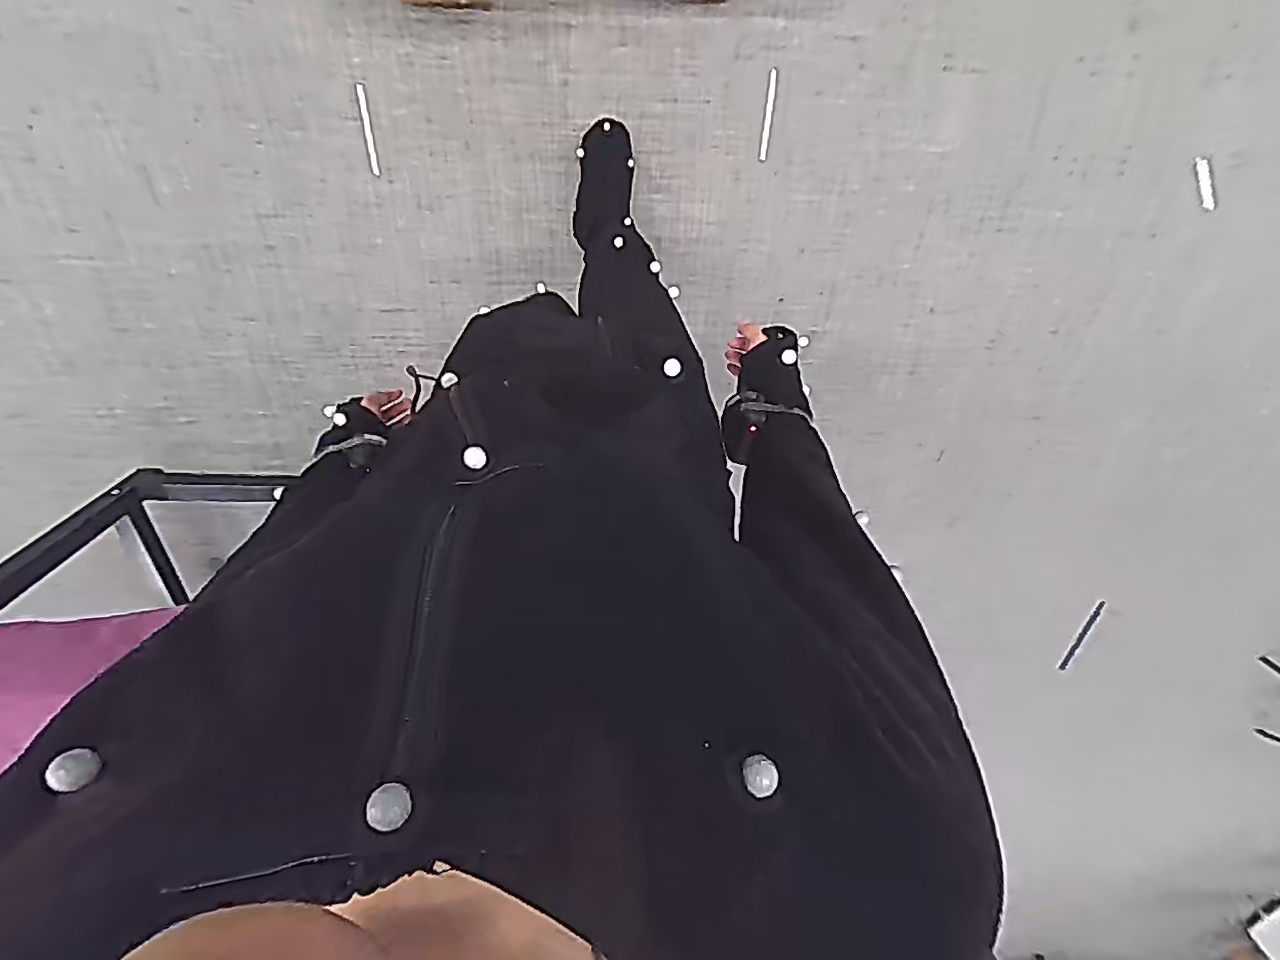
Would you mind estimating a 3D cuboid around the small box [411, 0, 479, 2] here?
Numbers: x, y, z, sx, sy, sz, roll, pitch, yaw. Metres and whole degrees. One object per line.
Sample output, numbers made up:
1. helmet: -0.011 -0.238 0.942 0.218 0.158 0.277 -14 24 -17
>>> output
1. small box: -0.340 -0.886 0.858 0.179 0.176 0.168 -2 122 -2
